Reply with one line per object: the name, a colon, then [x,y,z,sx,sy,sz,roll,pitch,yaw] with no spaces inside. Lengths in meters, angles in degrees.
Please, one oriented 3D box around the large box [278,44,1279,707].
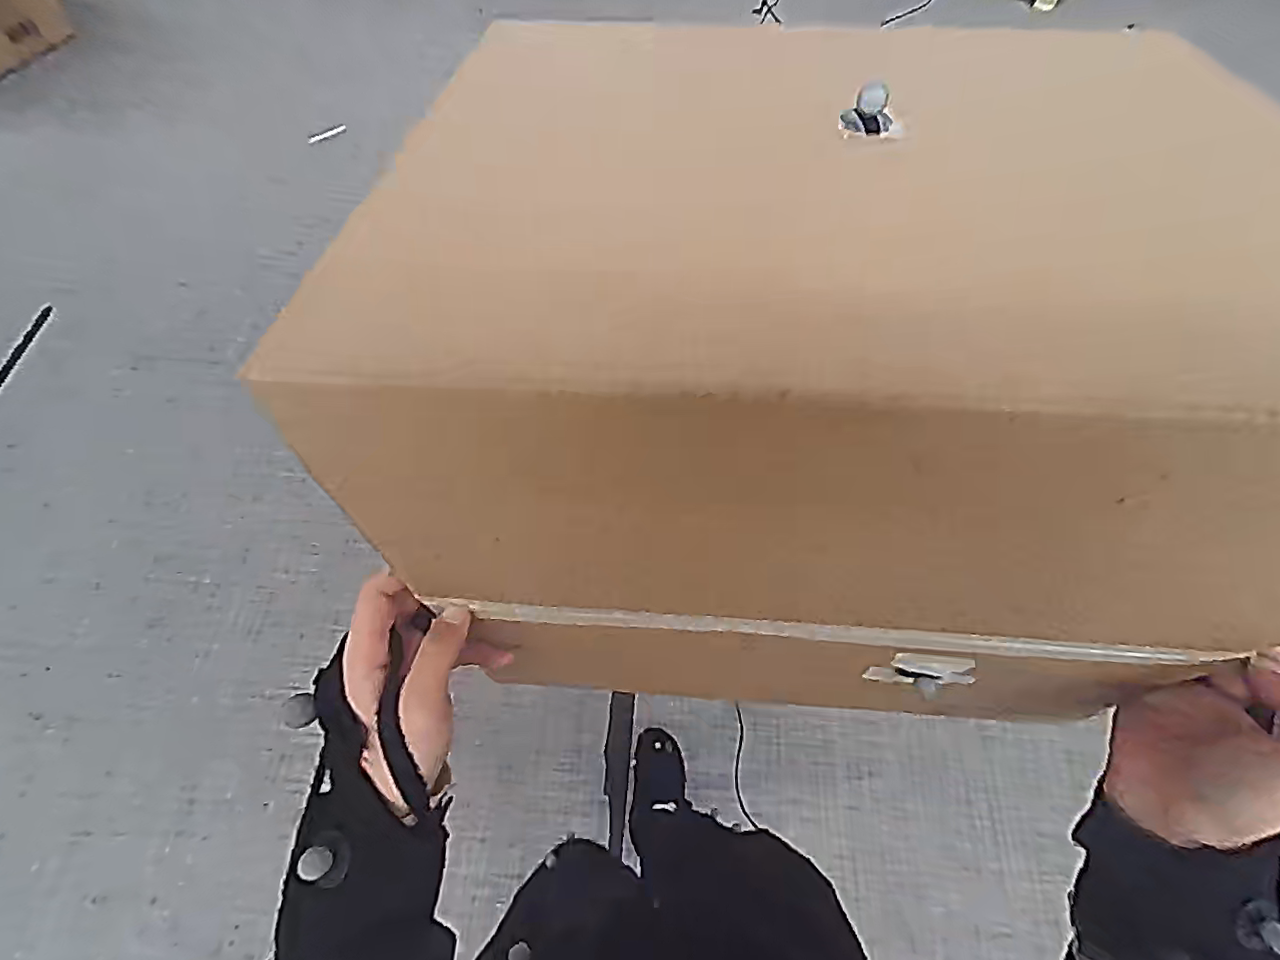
large box: [0.092,-0.053,0.363,0.408,0.320,0.320,2,56,3]
